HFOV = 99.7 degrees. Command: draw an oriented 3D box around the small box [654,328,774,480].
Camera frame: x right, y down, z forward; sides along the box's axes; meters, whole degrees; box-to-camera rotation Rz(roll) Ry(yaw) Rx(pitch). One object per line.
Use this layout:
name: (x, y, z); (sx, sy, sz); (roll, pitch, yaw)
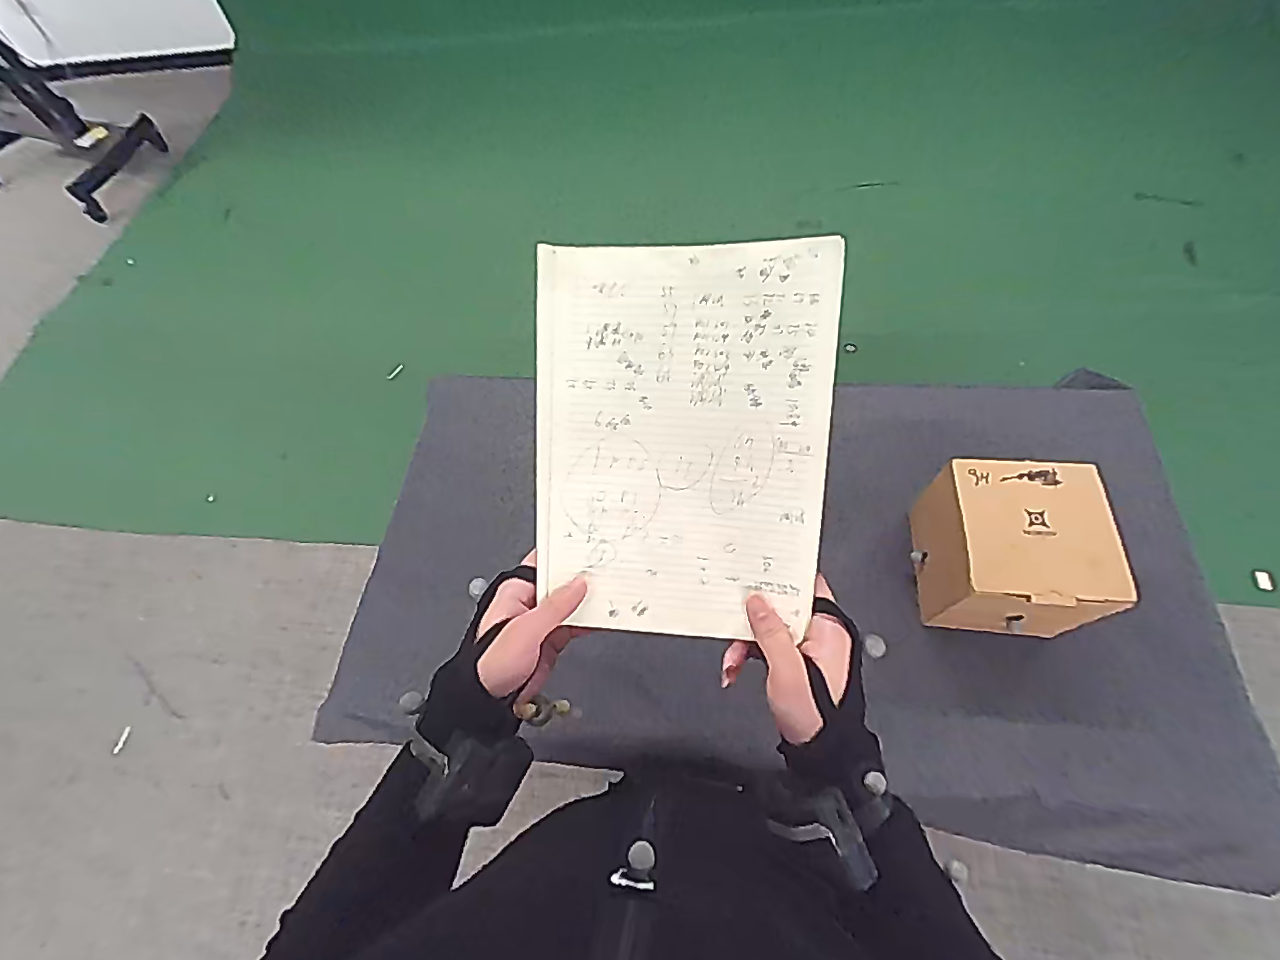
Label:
small box: (0.117, -0.112, 0.839); (0.168, 0.176, 0.179); (2, 62, 7)

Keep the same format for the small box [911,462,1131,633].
small box: (0.472, 0.094, 0.704); (0.168, 0.176, 0.179); (3, 64, 8)
